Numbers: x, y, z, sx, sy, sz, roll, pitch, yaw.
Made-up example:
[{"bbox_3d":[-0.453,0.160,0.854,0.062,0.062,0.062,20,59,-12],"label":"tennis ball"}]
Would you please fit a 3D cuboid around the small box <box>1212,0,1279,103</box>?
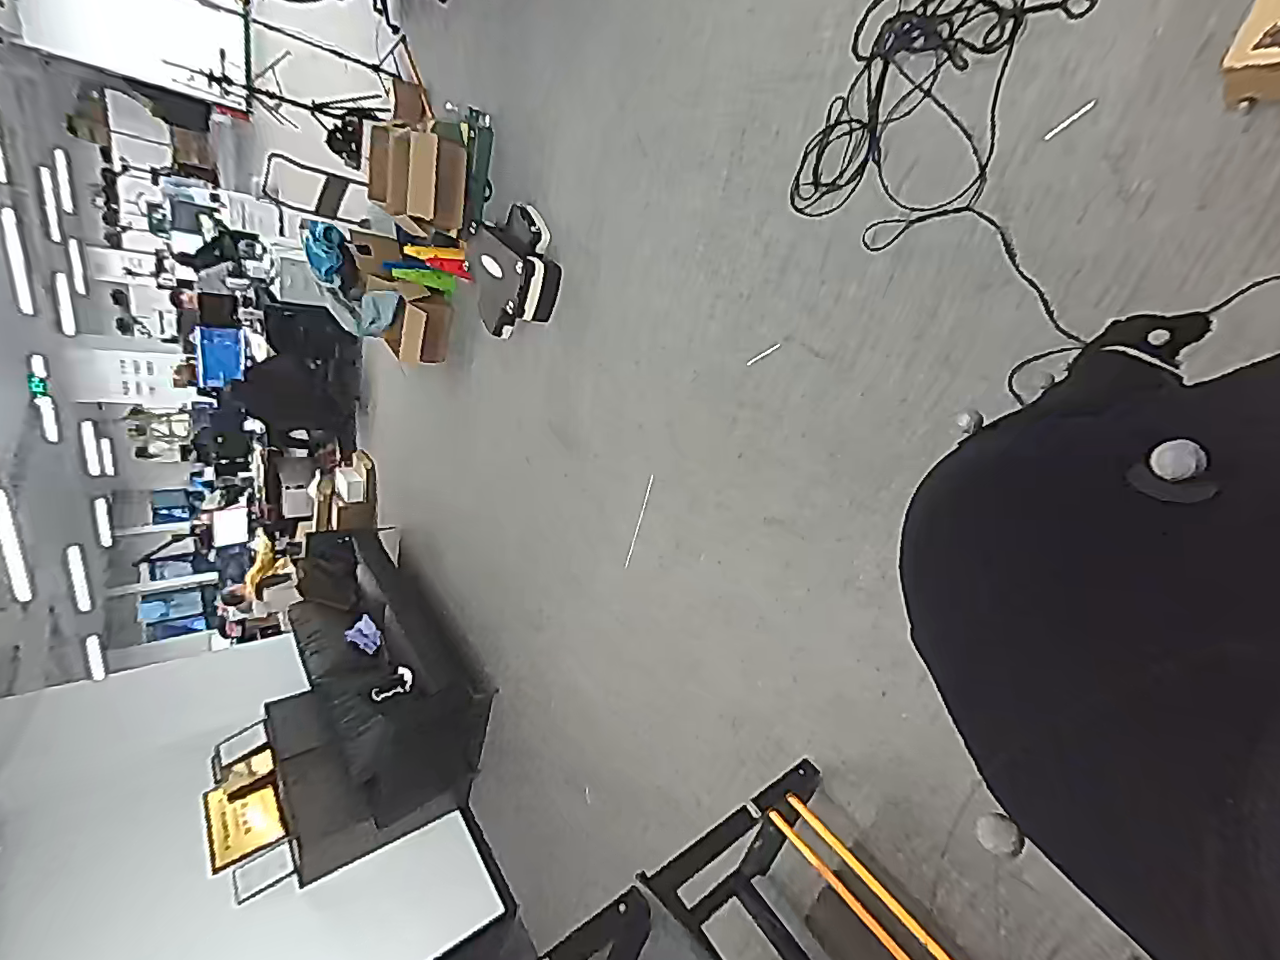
[{"bbox_3d":[1.075,-0.724,0.859,0.168,0.176,0.179,34,119,41],"label":"small box"}]
